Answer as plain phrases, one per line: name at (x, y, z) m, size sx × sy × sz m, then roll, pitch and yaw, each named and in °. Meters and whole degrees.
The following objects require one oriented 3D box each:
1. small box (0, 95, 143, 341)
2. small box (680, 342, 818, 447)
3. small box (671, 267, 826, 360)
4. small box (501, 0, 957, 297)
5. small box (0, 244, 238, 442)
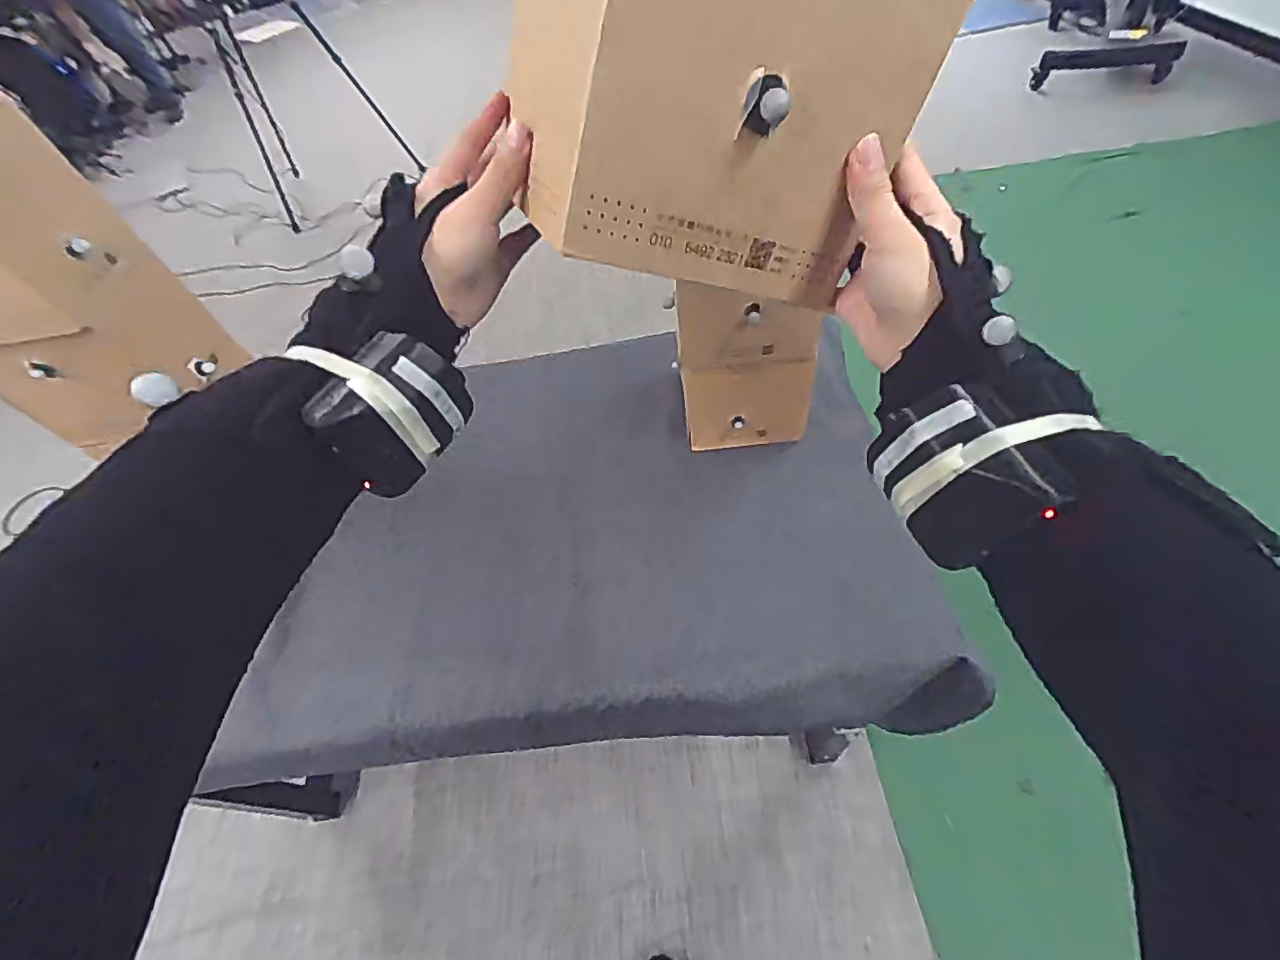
small box at (-0.688, -0.254, 0.552) m, size 0.179 × 0.176 × 0.168 m, roll -9°, pitch 56°, yaw 0°
small box at (0.143, -0.170, 0.777) m, size 0.168 × 0.176 × 0.179 m, roll -6°, pitch 55°, yaw 4°
small box at (0.120, -0.258, 0.641) m, size 0.168 × 0.176 × 0.179 m, roll -6°, pitch 56°, yaw 4°
small box at (0.030, -0.217, 0.295) m, size 0.168 × 0.176 × 0.179 m, roll 1°, pitch 36°, yaw -28°
small box at (-0.674, -0.167, 0.692) m, size 0.179 × 0.176 × 0.168 m, roll -10°, pitch 56°, yaw -1°
